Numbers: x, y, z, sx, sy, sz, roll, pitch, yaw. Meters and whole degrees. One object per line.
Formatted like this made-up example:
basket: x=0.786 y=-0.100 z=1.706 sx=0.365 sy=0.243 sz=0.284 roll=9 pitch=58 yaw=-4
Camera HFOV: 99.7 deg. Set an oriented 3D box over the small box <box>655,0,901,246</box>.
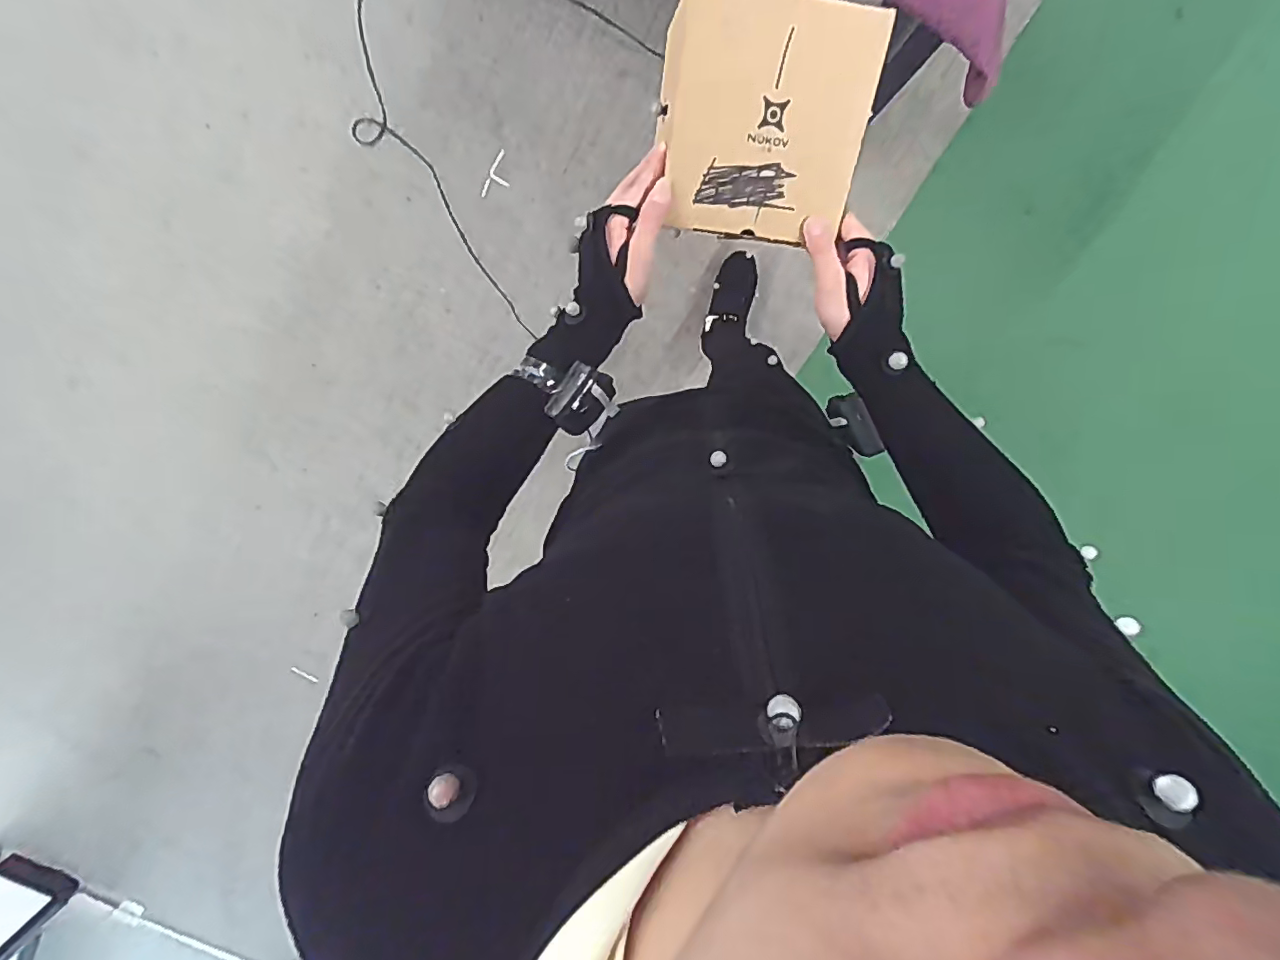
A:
small box: x=0.108 y=-0.334 z=0.517 sx=0.168 sy=0.176 sz=0.179 roll=4 pitch=117 yaw=-6
